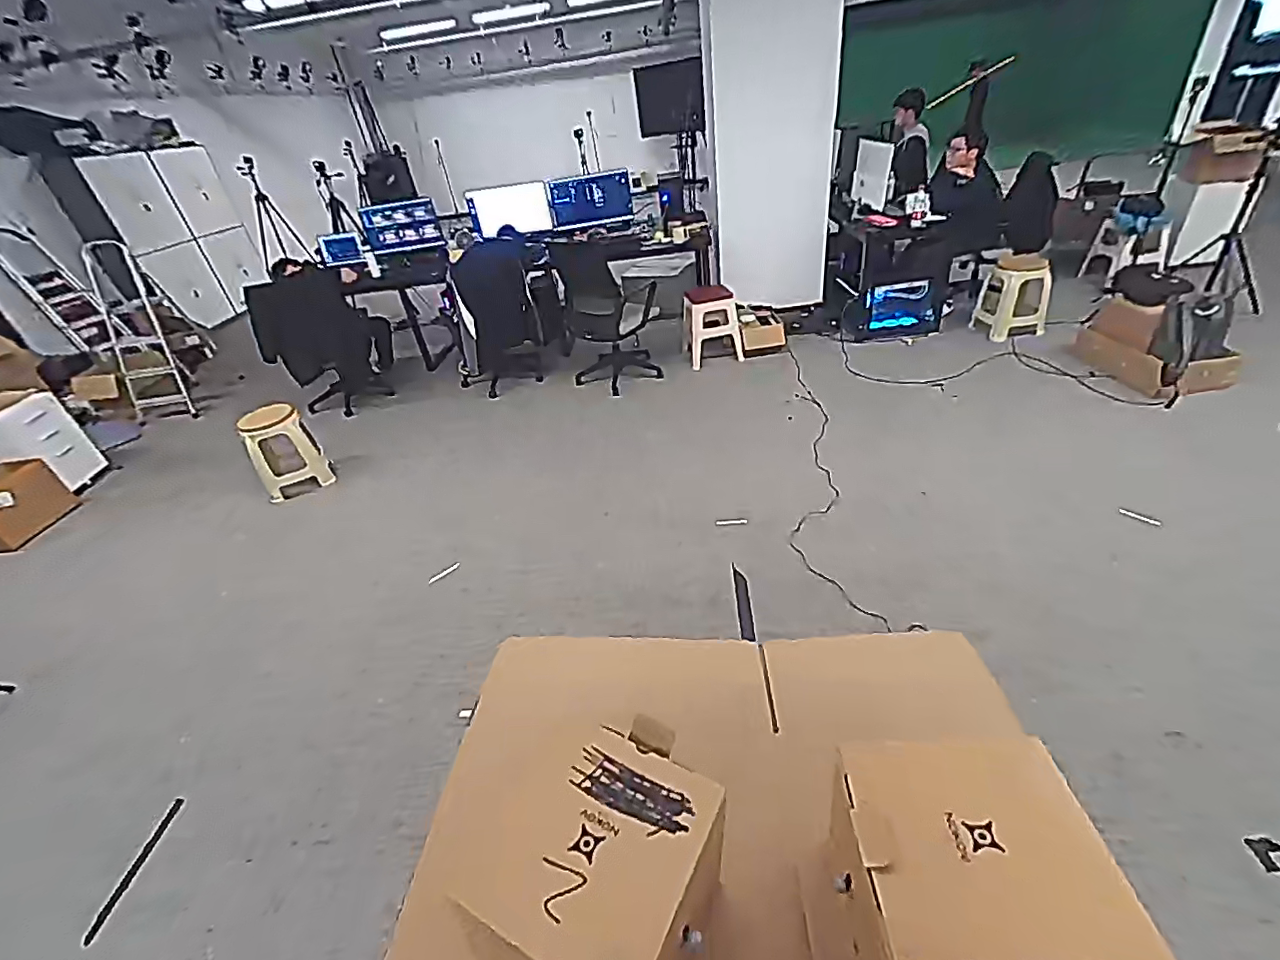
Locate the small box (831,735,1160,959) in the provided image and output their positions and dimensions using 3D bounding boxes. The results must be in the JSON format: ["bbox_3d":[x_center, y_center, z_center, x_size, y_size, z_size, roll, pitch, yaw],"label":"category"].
[{"bbox_3d":[0.275,0.349,0.473,0.179,0.176,0.168,-6,30,8],"label":"small box"}]
